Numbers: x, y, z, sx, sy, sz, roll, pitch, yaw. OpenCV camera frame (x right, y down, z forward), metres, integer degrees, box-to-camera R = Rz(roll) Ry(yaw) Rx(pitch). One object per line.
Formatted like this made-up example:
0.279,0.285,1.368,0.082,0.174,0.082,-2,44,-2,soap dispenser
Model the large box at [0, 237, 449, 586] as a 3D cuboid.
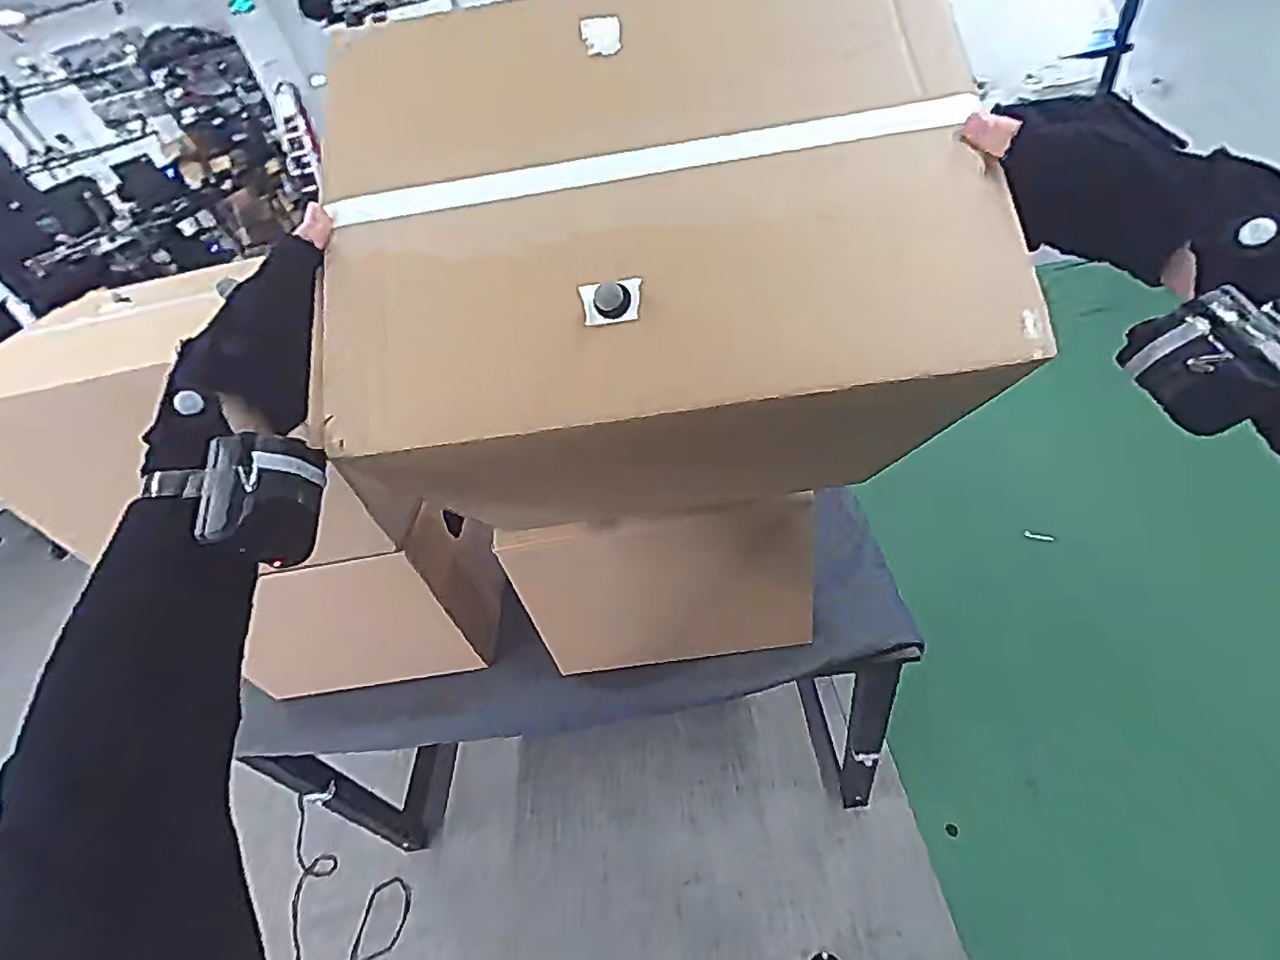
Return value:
-0.539,-0.089,0.749,0.408,0.320,0.320,-10,41,6,large box
